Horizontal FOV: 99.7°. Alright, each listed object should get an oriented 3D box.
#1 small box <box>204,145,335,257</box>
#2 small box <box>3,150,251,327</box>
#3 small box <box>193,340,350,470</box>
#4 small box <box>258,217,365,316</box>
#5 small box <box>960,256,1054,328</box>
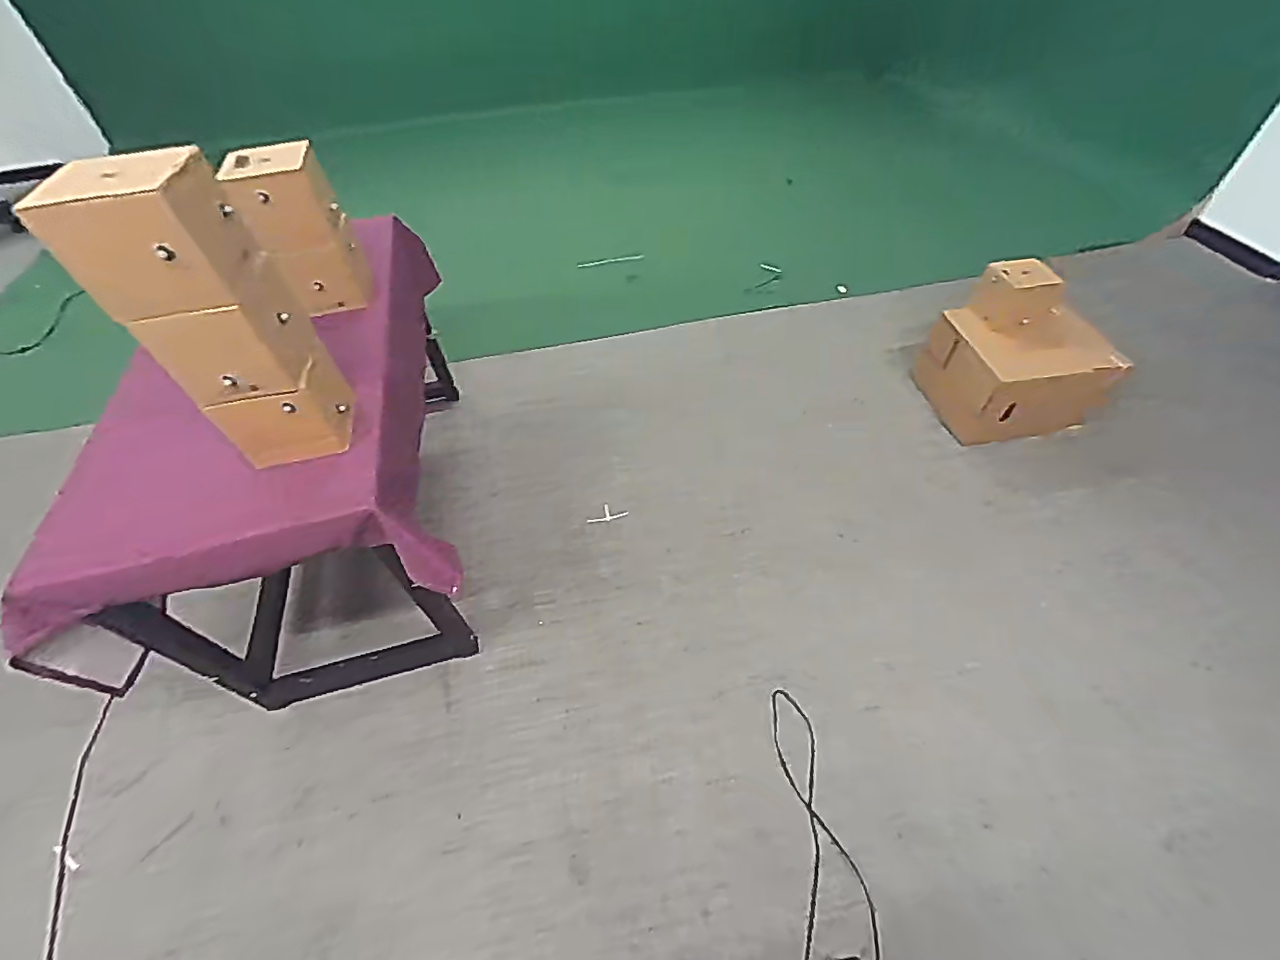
[{"bbox_3d":[-0.830,-0.631,1.231,0.179,0.176,0.168,-14,52,-8],"label":"small box"},{"bbox_3d":[-0.713,-0.348,0.785,0.179,0.176,0.168,-12,50,-5],"label":"small box"},{"bbox_3d":[-0.690,-0.139,1.037,0.179,0.176,0.168,-13,51,-7],"label":"small box"},{"bbox_3d":[-0.813,-0.529,1.360,0.168,0.176,0.179,-12,51,-7],"label":"small box"},{"bbox_3d":[1.253,-0.646,1.862,0.179,0.176,0.168,-8,49,-6],"label":"small box"}]
